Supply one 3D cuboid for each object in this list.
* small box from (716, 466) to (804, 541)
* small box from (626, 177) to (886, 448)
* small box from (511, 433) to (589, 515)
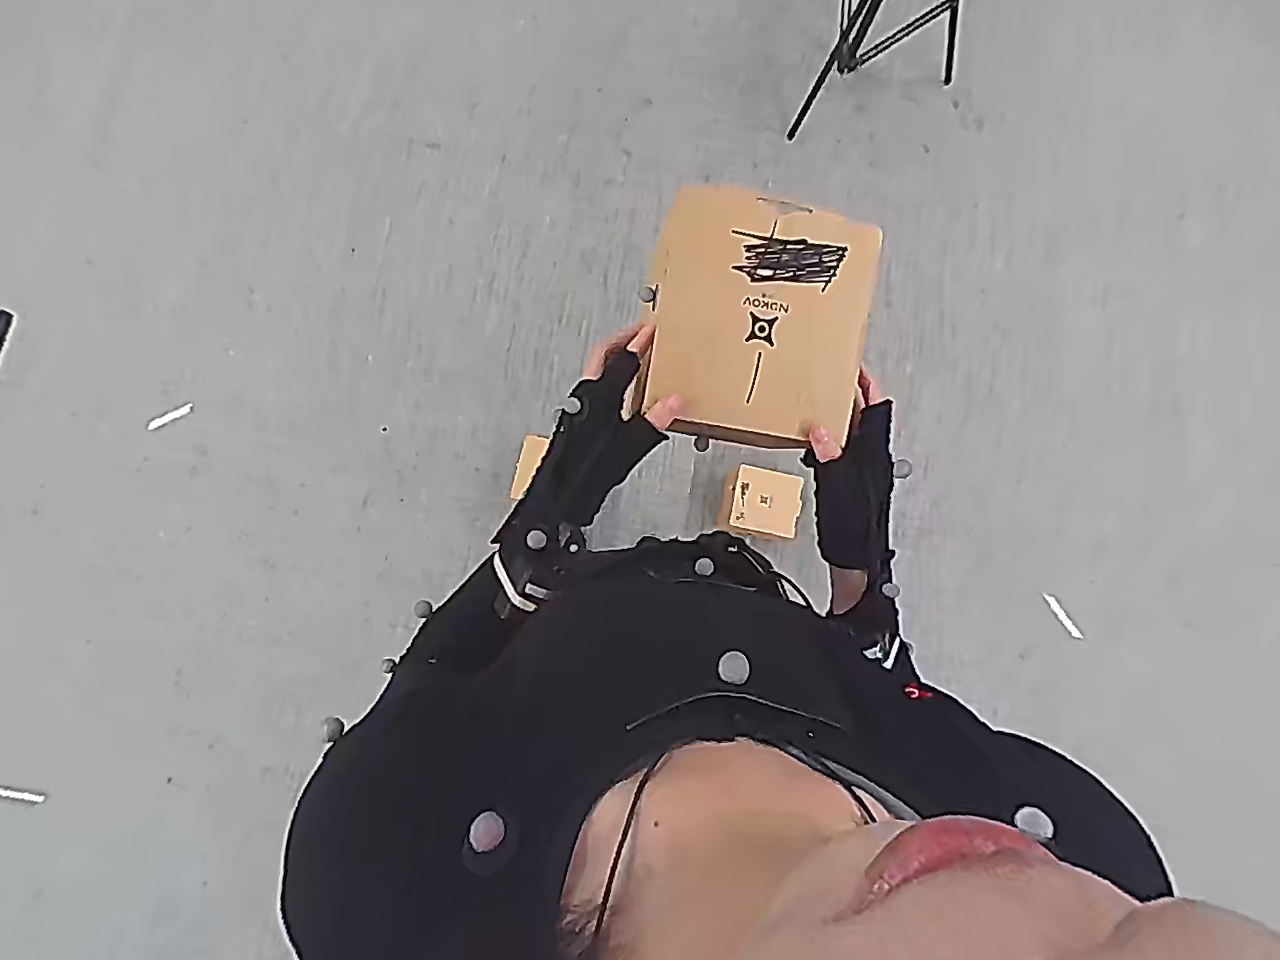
[{"bbox_3d":[0.323,0.068,1.481,0.179,0.176,0.168,13,82,-2],"label":"small box"},{"bbox_3d":[0.085,-0.127,0.484,0.168,0.176,0.179,9,93,-8],"label":"small box"},{"bbox_3d":[-0.235,-0.010,1.463,0.168,0.176,0.179,13,83,0],"label":"small box"}]
